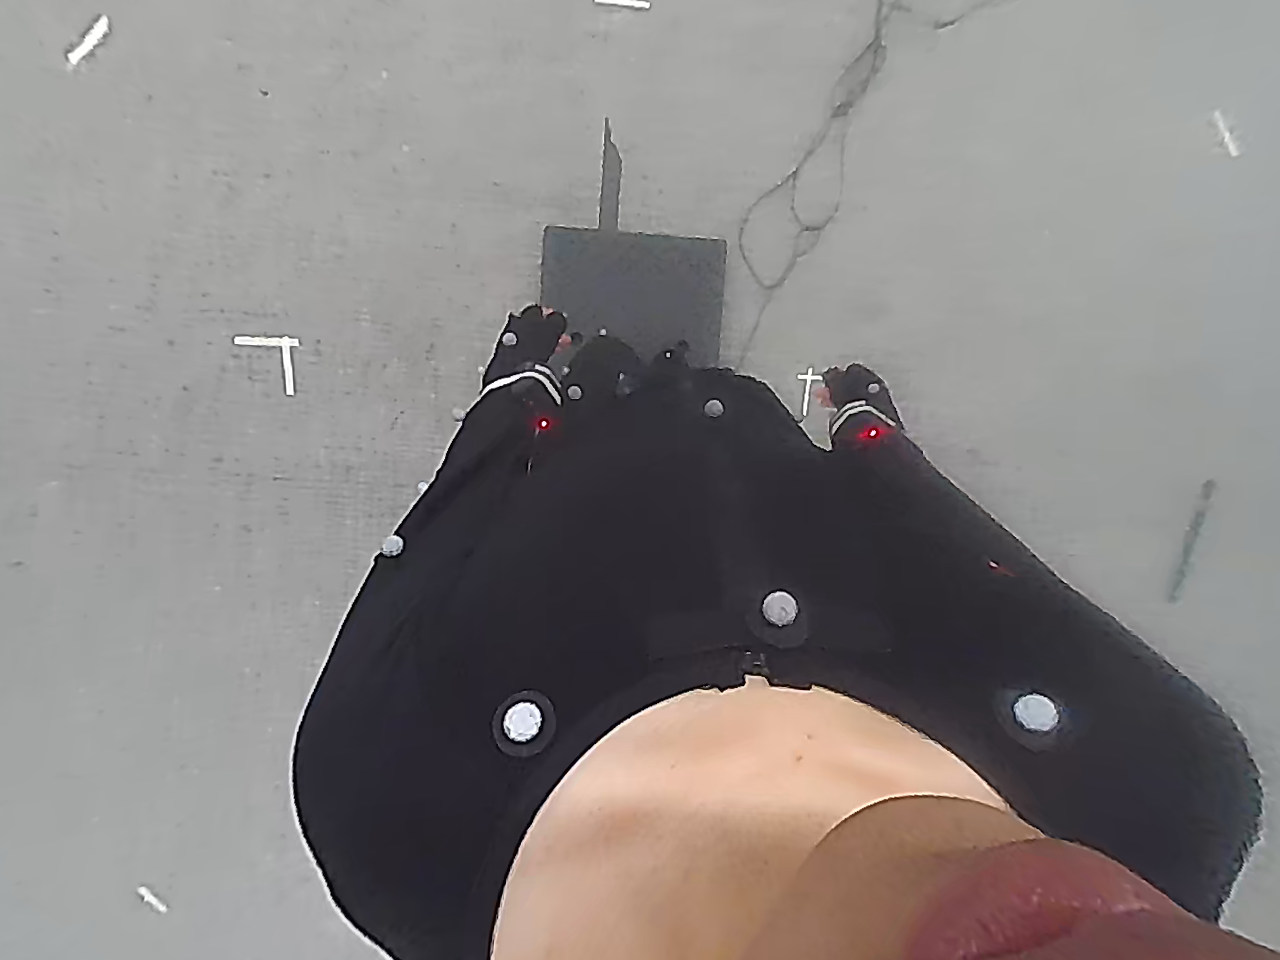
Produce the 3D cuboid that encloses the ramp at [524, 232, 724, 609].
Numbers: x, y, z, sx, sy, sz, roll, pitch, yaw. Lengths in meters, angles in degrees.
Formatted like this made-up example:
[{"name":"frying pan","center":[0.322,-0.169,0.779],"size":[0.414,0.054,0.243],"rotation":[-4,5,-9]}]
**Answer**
[{"name":"ramp","center":[-0.046,-0.155,1.465],"size":[0.509,0.206,0.991],"rotation":[2,102,-1]}]
